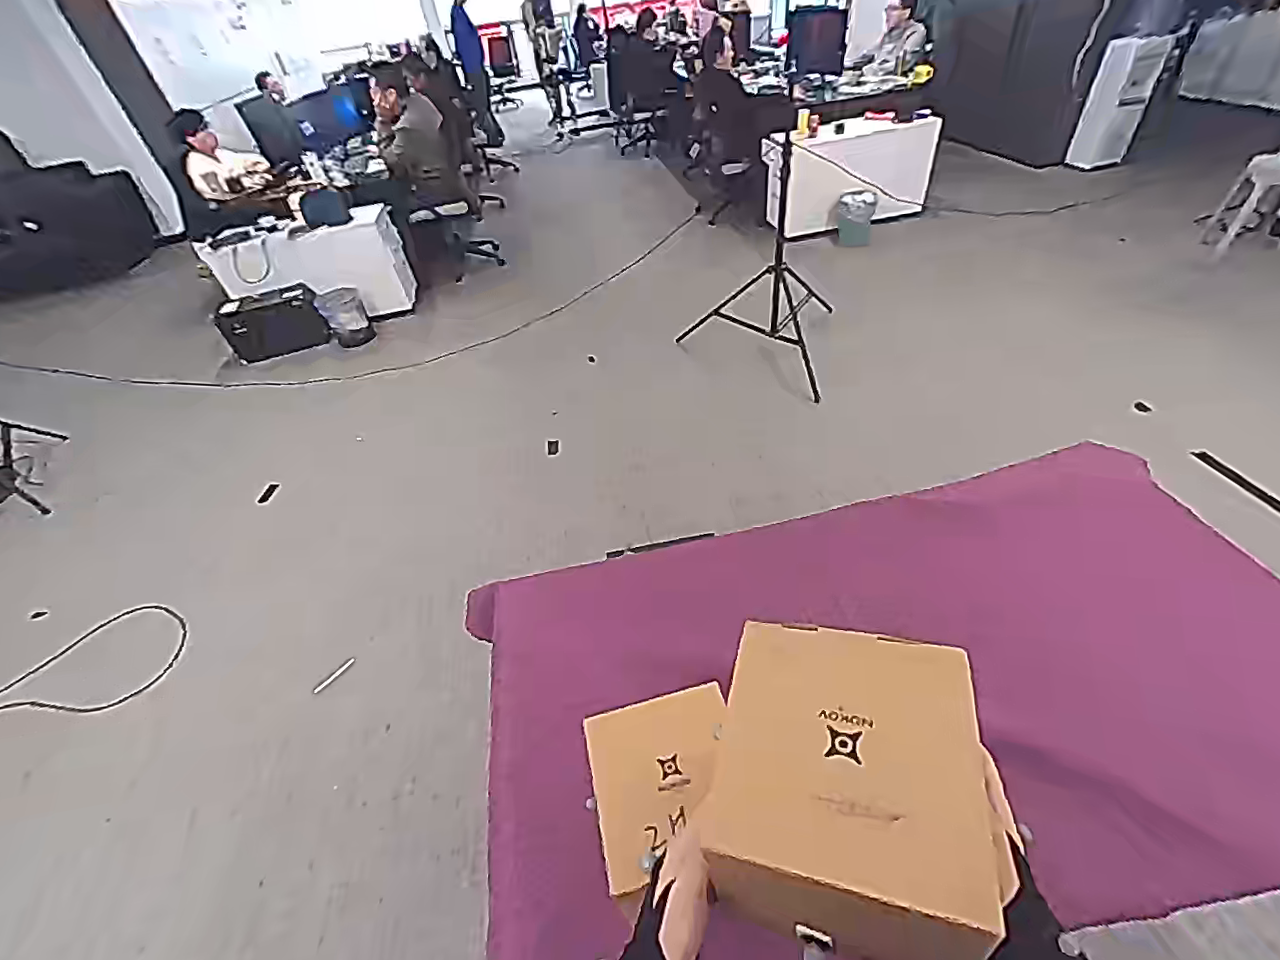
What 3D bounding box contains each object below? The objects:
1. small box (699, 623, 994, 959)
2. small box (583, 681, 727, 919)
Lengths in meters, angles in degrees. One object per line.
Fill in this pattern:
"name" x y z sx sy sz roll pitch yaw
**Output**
"small box" 0.154 0.241 0.421 0.168 0.176 0.179 1 40 22
"small box" 0.037 0.373 0.634 0.168 0.176 0.179 -14 43 -5
